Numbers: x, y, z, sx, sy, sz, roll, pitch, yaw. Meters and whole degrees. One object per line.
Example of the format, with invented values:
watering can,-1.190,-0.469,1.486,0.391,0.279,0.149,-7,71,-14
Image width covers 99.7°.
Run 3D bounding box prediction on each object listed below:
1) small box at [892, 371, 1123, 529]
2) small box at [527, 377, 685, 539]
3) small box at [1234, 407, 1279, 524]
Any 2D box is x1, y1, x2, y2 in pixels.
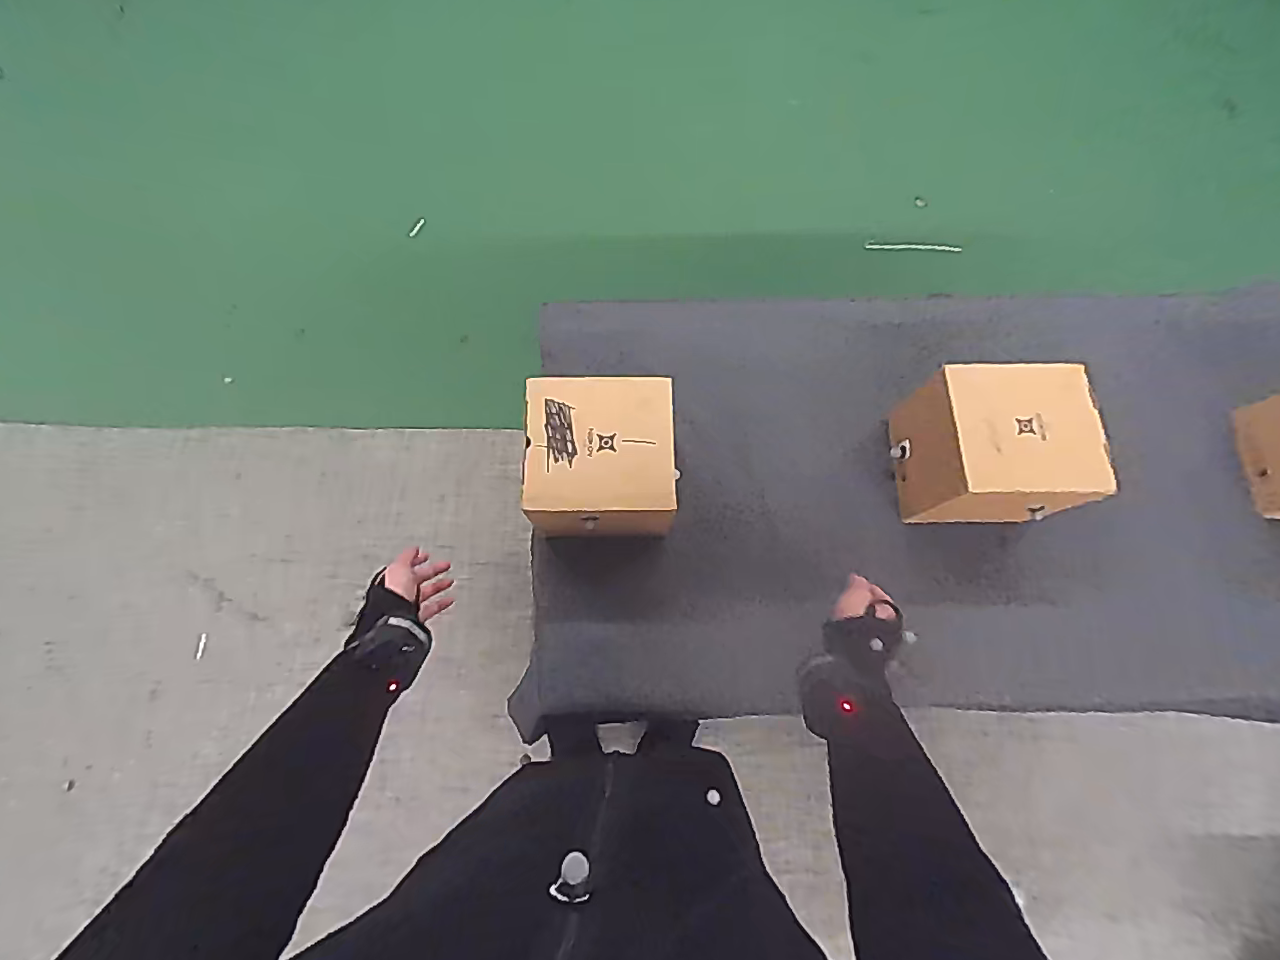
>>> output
small box,0.465,-0.032,0.714,0.179,0.176,0.168,-1,73,-1
small box,-0.040,-0.019,0.692,0.179,0.176,0.168,0,74,-3
small box,0.983,-0.030,0.725,0.179,0.176,0.168,4,75,-1
